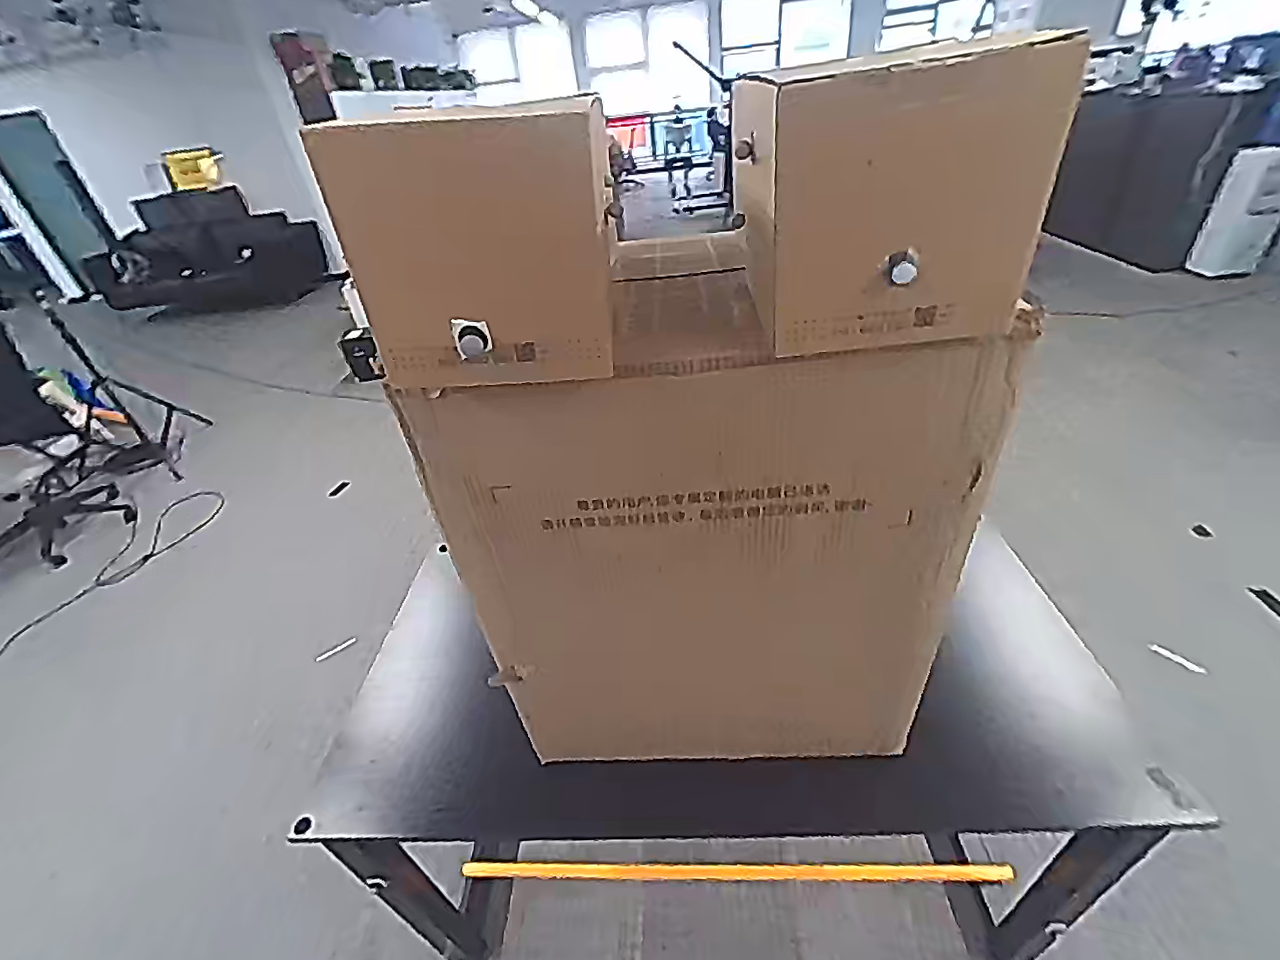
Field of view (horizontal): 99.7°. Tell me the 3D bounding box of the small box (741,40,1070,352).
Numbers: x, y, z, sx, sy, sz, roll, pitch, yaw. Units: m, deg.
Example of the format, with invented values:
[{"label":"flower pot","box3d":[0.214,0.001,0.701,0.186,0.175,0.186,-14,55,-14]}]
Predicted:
[{"label":"small box","box3d":[0.168,-0.215,0.416,0.168,0.176,0.179,-6,38,7]}]
